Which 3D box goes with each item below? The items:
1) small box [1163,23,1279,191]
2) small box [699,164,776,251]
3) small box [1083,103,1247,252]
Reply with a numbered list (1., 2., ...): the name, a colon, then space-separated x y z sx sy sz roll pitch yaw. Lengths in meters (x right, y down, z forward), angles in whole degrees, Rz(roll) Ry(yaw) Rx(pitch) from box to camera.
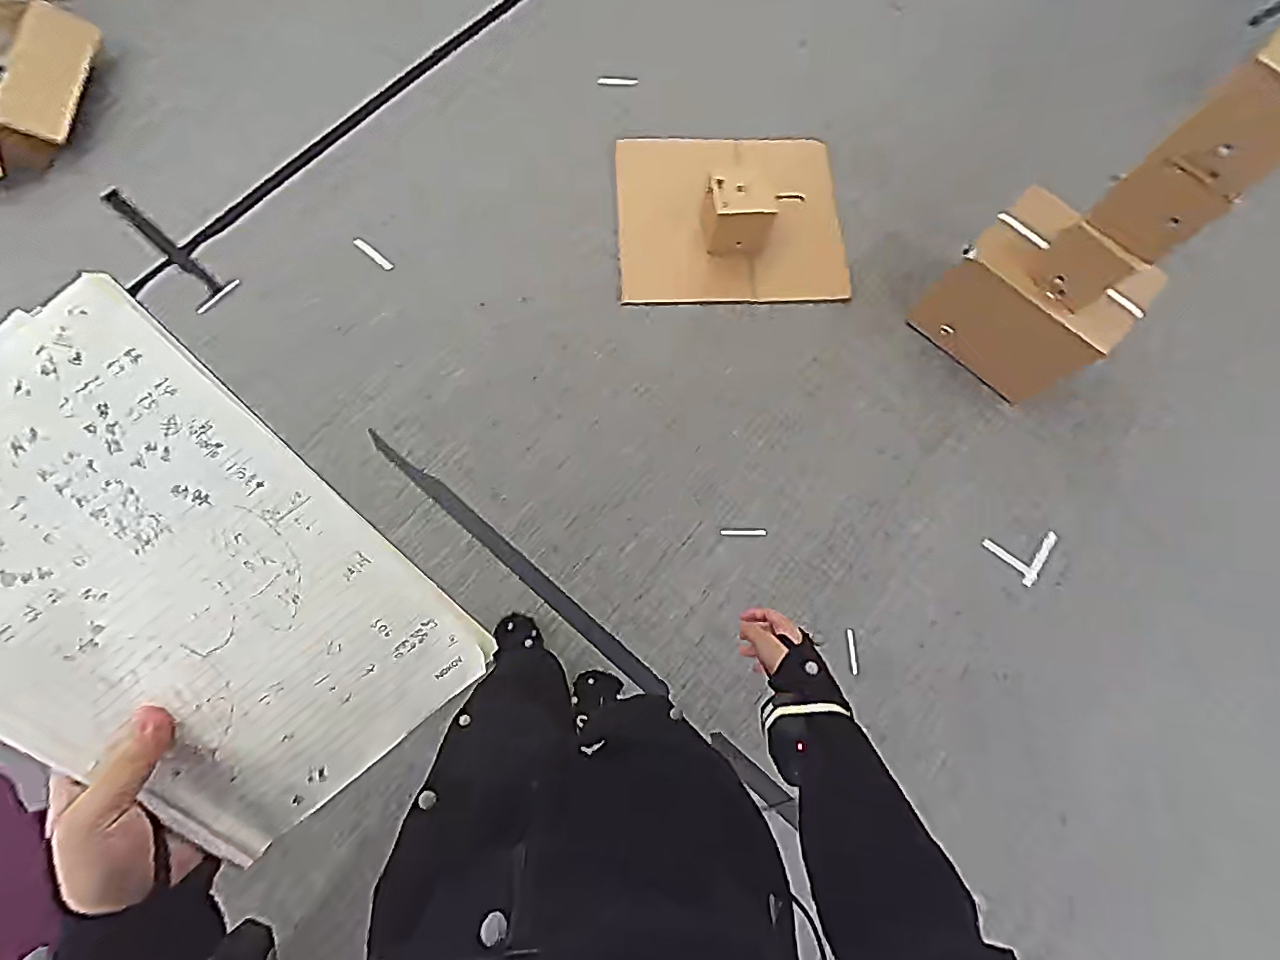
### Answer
1. small box: 1.076 -0.650 0.931 0.168 0.176 0.179 44 76 10
2. small box: 0.281 -0.797 1.592 0.179 0.176 0.168 -4 75 -6
3. small box: 1.063 -0.593 1.086 0.179 0.176 0.168 41 76 10
